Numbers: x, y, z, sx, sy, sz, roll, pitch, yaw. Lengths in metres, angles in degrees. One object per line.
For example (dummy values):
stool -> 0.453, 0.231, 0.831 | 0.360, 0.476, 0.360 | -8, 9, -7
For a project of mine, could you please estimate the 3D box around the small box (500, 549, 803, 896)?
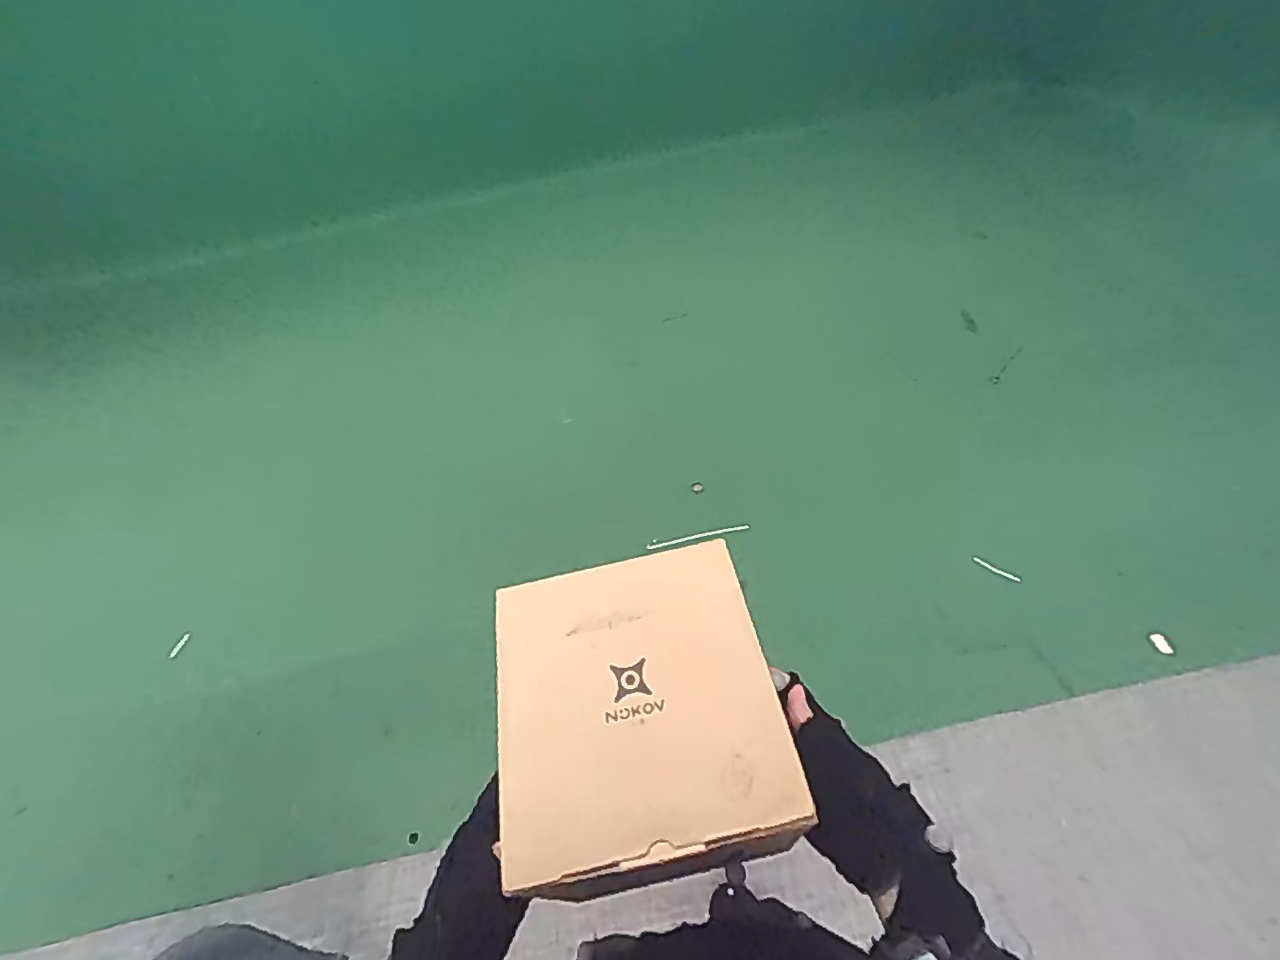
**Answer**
small box -> 0.004, 0.180, 0.394 | 0.168, 0.176, 0.179 | -12, 51, -1
